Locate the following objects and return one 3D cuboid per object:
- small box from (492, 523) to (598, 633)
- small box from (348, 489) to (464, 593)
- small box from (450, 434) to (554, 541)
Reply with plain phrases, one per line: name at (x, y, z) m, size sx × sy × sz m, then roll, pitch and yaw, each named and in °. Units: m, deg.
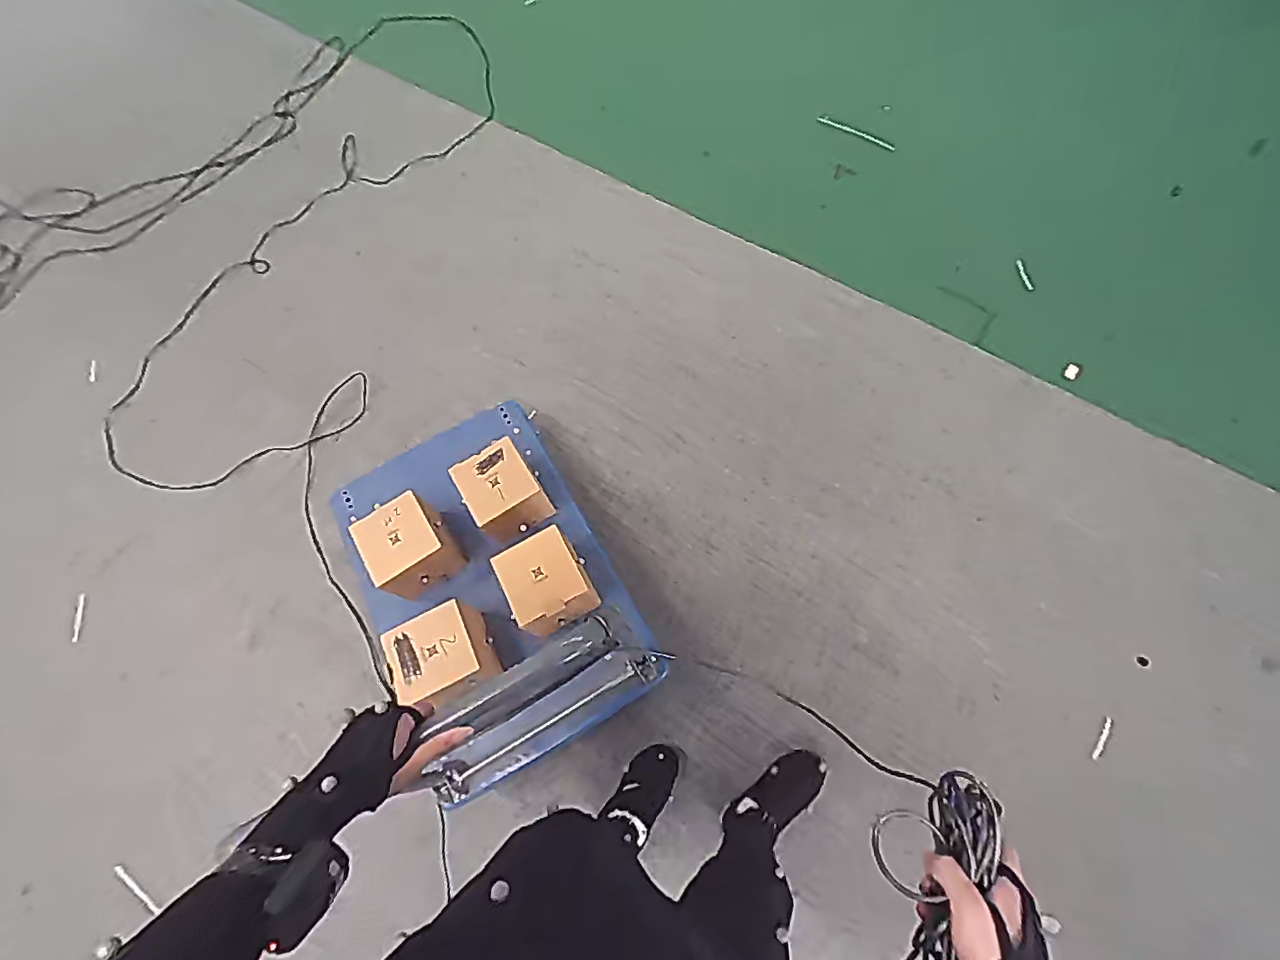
small box at (-0.212, 0.231, 1.241) m, size 0.168 × 0.176 × 0.179 m, roll -29°, pitch 69°, yaw -7°
small box at (-0.553, 0.156, 1.300) m, size 0.168 × 0.176 × 0.179 m, roll -33°, pitch 69°, yaw -9°
small box at (-0.335, 0.024, 1.336) m, size 0.168 × 0.176 × 0.179 m, roll -32°, pitch 69°, yaw -7°
